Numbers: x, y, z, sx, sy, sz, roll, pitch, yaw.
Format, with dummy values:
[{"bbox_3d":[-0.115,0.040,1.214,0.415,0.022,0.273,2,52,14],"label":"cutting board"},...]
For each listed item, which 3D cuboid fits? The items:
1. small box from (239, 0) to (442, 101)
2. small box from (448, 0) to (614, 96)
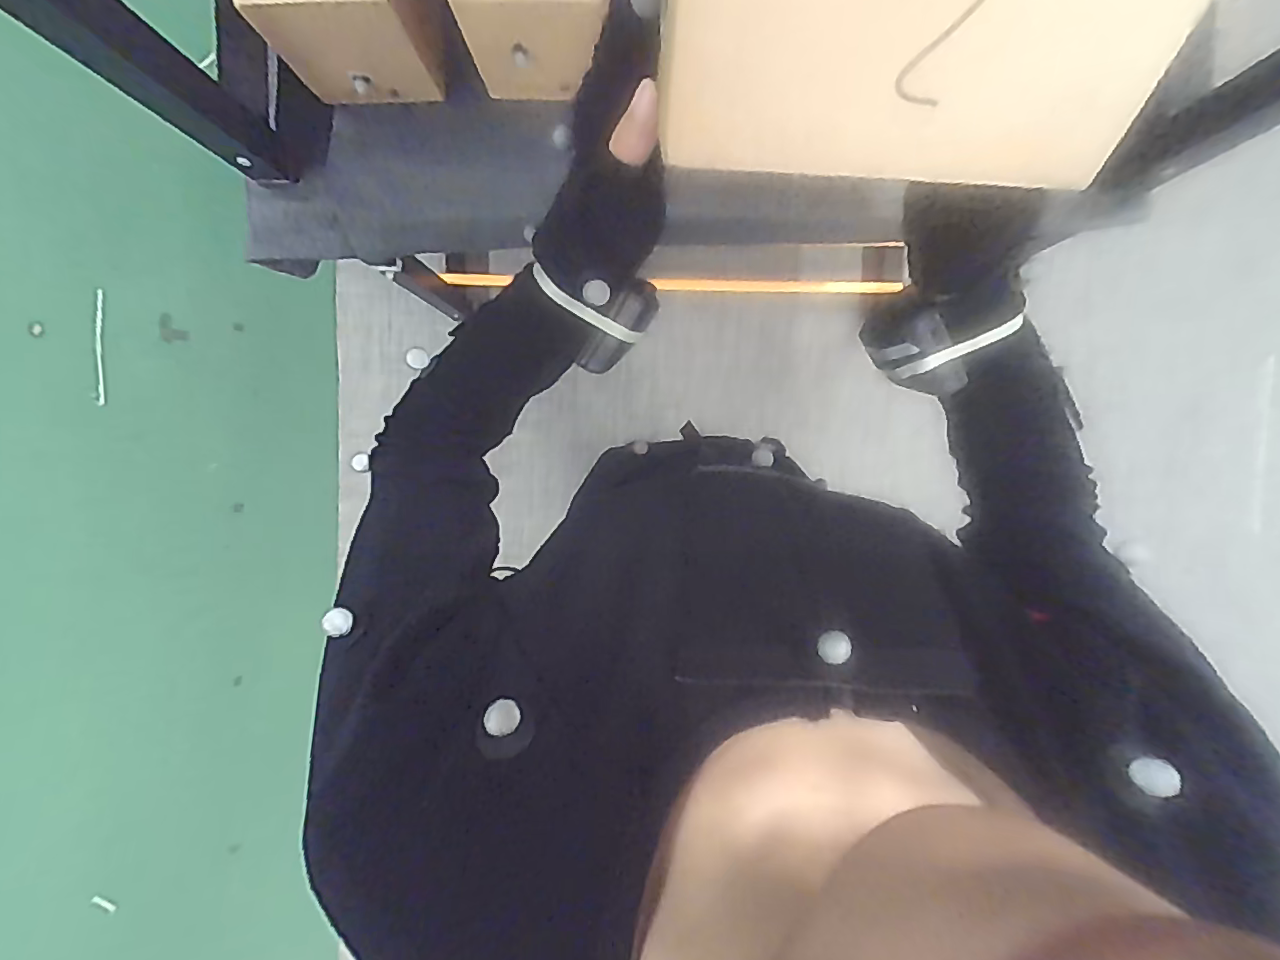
[{"bbox_3d":[-0.344,-0.589,0.635,0.168,0.176,0.179,-1,93,1],"label":"small box"},{"bbox_3d":[-0.117,-0.590,0.635,0.168,0.176,0.179,1,93,1],"label":"small box"}]
